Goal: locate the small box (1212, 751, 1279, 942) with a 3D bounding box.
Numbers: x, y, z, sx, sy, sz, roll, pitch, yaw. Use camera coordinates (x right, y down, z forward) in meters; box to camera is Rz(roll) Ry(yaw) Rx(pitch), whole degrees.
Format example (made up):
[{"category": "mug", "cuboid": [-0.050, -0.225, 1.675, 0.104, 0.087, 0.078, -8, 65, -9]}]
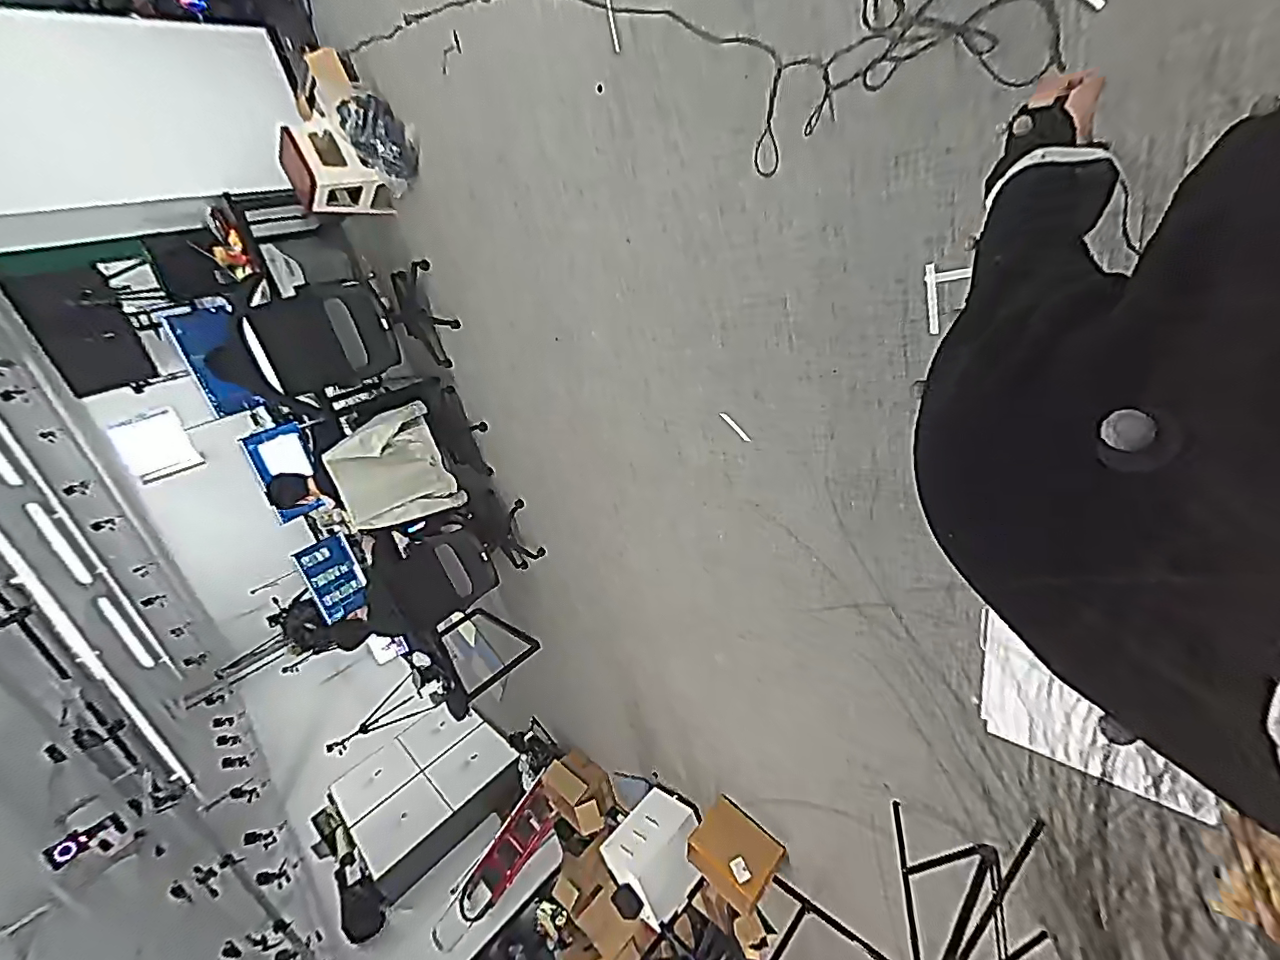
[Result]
[{"category": "small box", "cuboid": [0.902, 0.506, 0.715, 0.168, 0.176, 0.179, 17, 127, 43]}]
